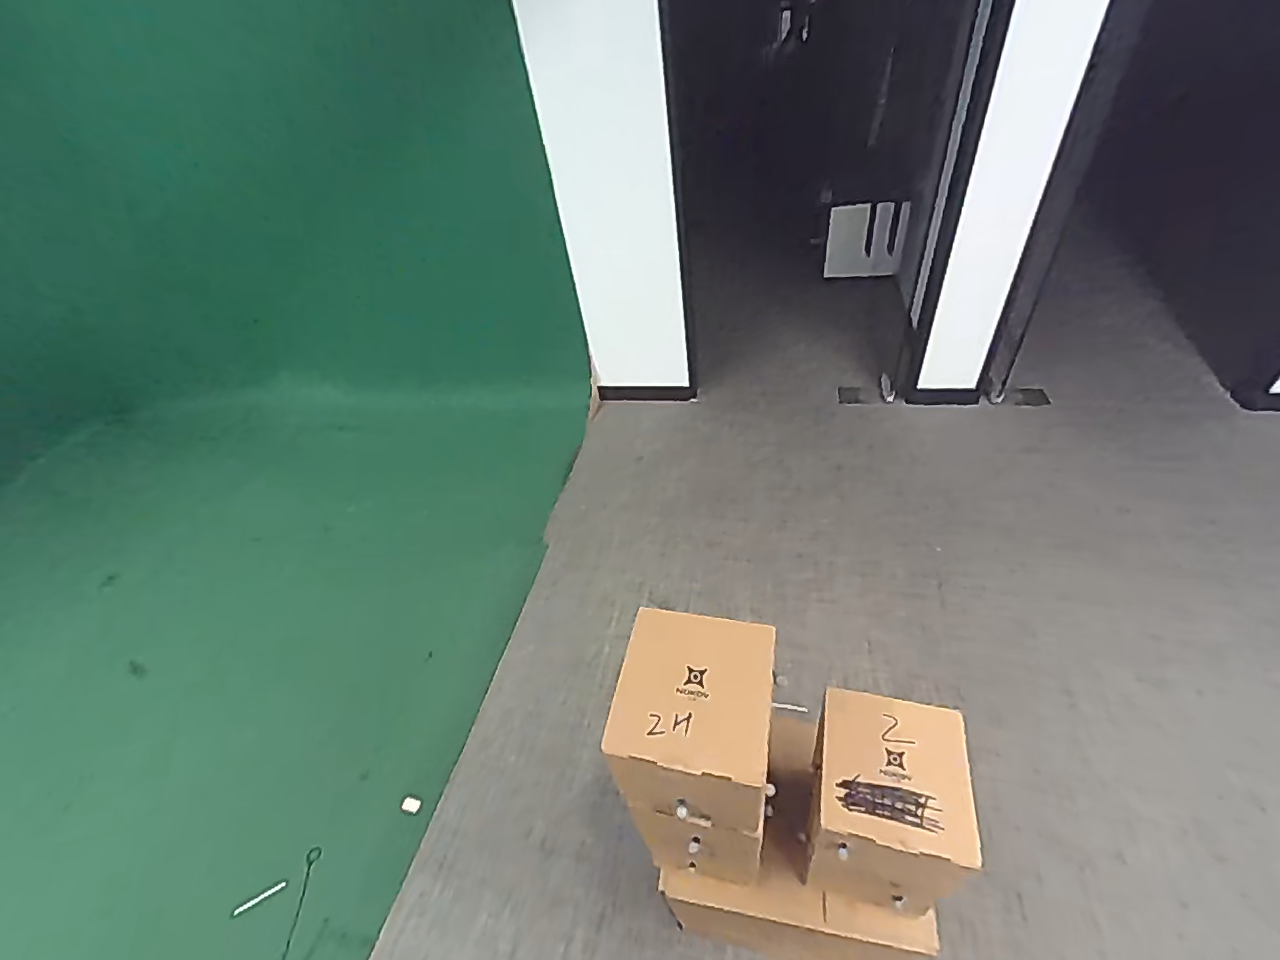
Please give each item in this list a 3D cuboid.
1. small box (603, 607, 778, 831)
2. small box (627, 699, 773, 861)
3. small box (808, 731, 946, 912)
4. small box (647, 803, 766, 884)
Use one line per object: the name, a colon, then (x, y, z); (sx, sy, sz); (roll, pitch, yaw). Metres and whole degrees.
small box: (0.068, 0.280, 0.640); (0.168, 0.176, 0.179); (5, 46, 15)
small box: (0.093, 0.399, 0.751); (0.168, 0.176, 0.179); (5, 47, 15)
small box: (0.347, 0.515, 0.816); (0.168, 0.176, 0.179); (5, 44, 17)
small box: (0.115, 0.512, 0.868); (0.168, 0.176, 0.179); (4, 46, 14)
